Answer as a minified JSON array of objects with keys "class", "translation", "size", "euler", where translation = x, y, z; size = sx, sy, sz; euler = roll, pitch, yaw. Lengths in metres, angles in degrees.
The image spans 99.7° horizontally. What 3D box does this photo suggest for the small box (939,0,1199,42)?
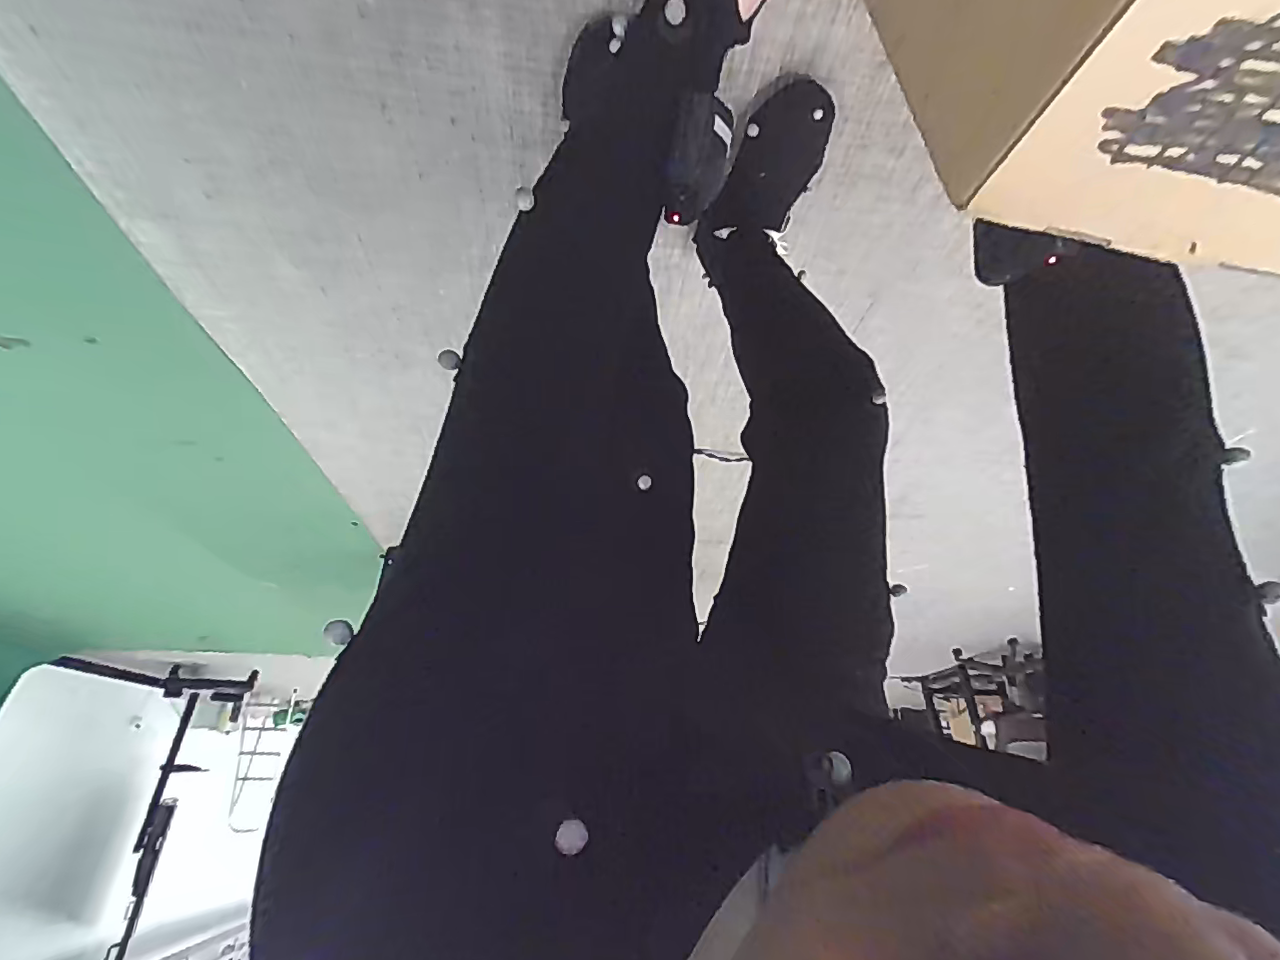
[{"class":"small box","translation":[0.194,-0.335,0.222],"size":[0.168,0.176,0.179],"euler":[3,153,-8]}]
